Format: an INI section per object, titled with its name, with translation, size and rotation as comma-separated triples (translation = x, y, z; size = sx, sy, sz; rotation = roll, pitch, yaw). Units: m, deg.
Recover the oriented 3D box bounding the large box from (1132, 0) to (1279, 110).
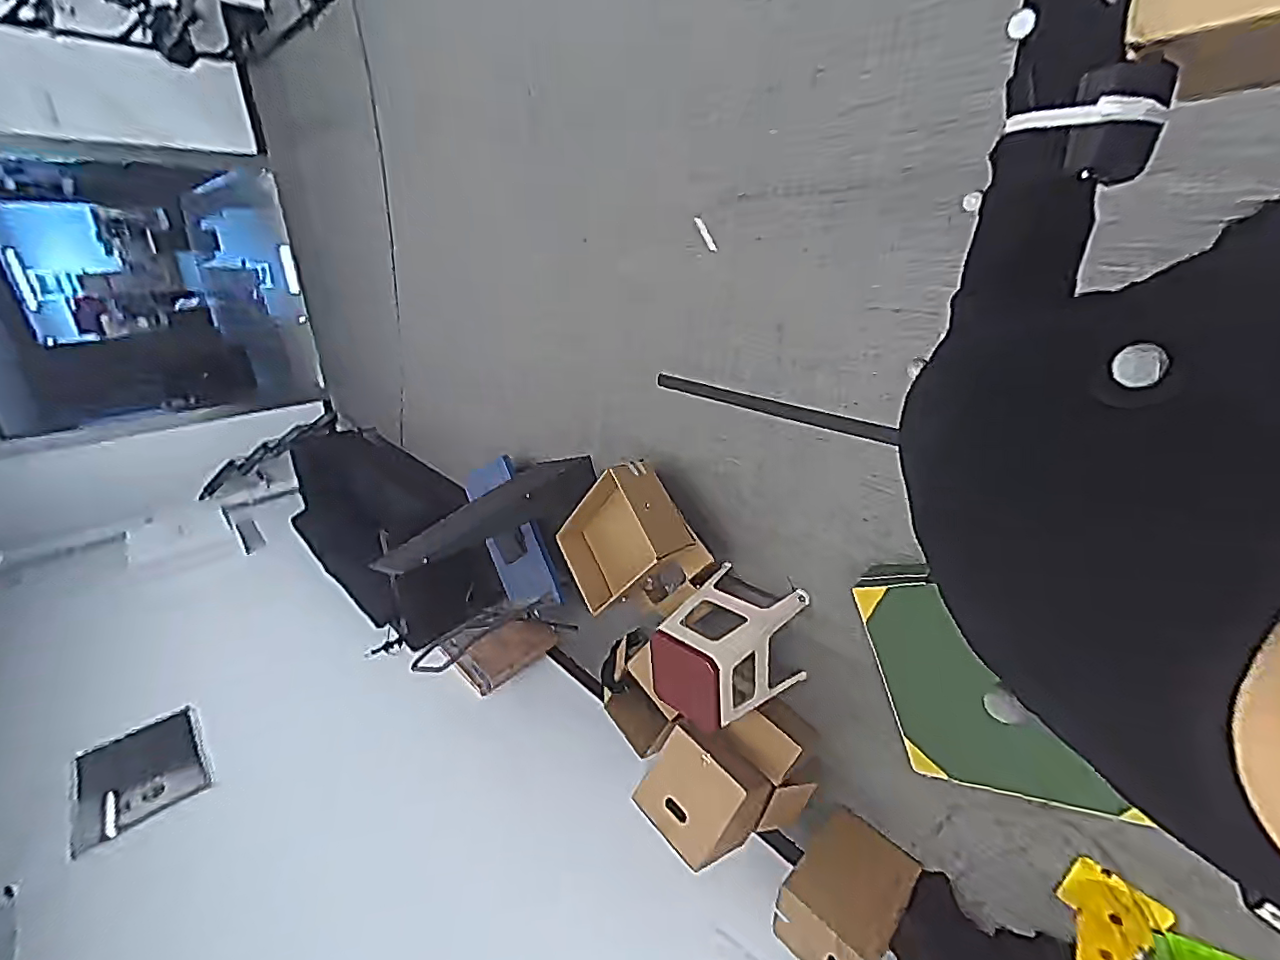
[large box]
translation = 0.553, -0.415, 0.258
size = 0.408, 0.320, 0.320
rotation = 20, 123, 42
